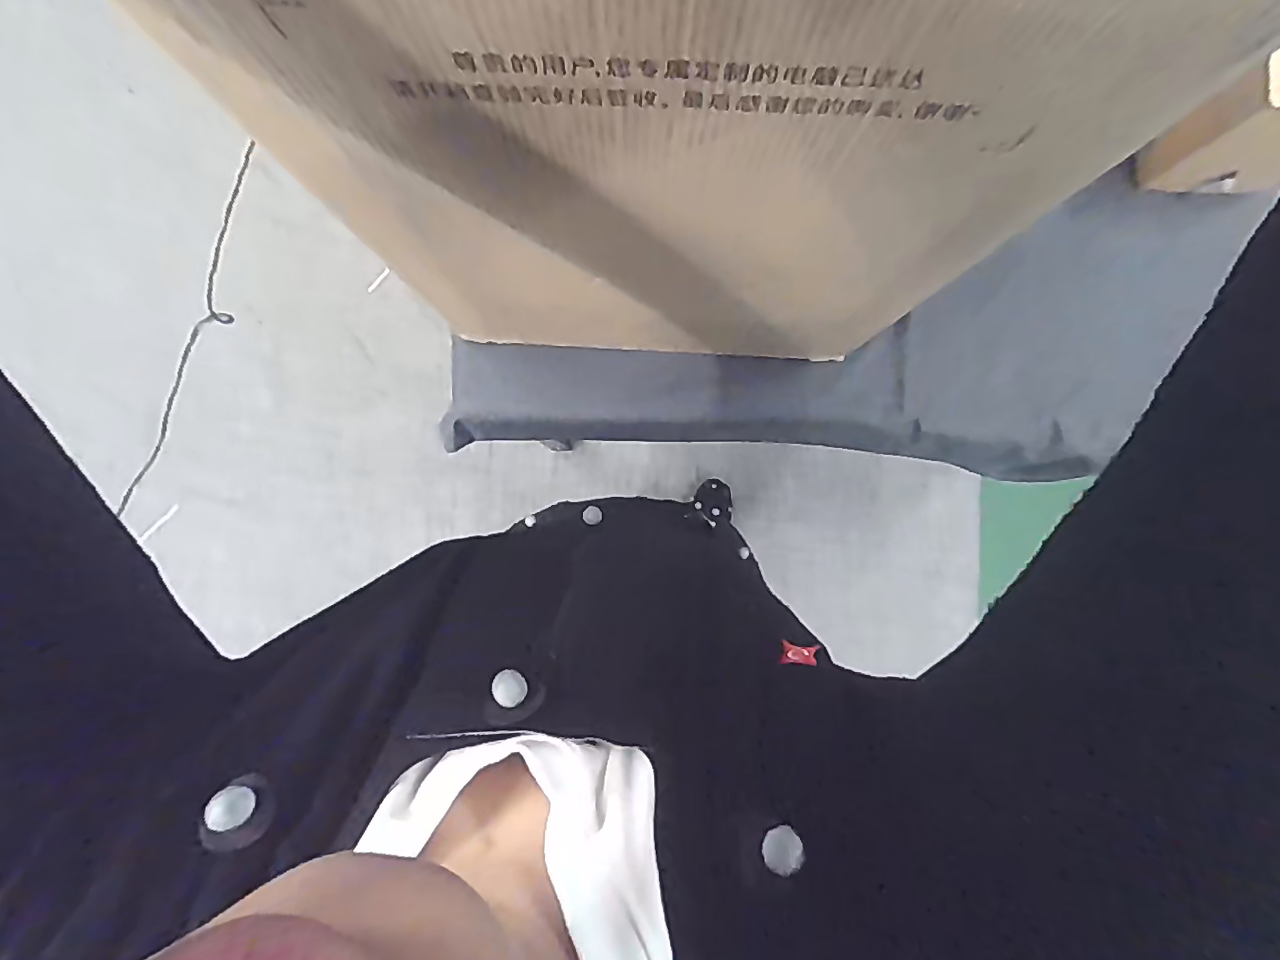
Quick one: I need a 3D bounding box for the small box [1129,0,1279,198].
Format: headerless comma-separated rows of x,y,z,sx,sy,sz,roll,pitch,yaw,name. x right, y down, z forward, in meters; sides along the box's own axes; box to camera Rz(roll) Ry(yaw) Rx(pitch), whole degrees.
0.793,-0.488,0.697,0.179,0.176,0.168,2,88,-1,small box
